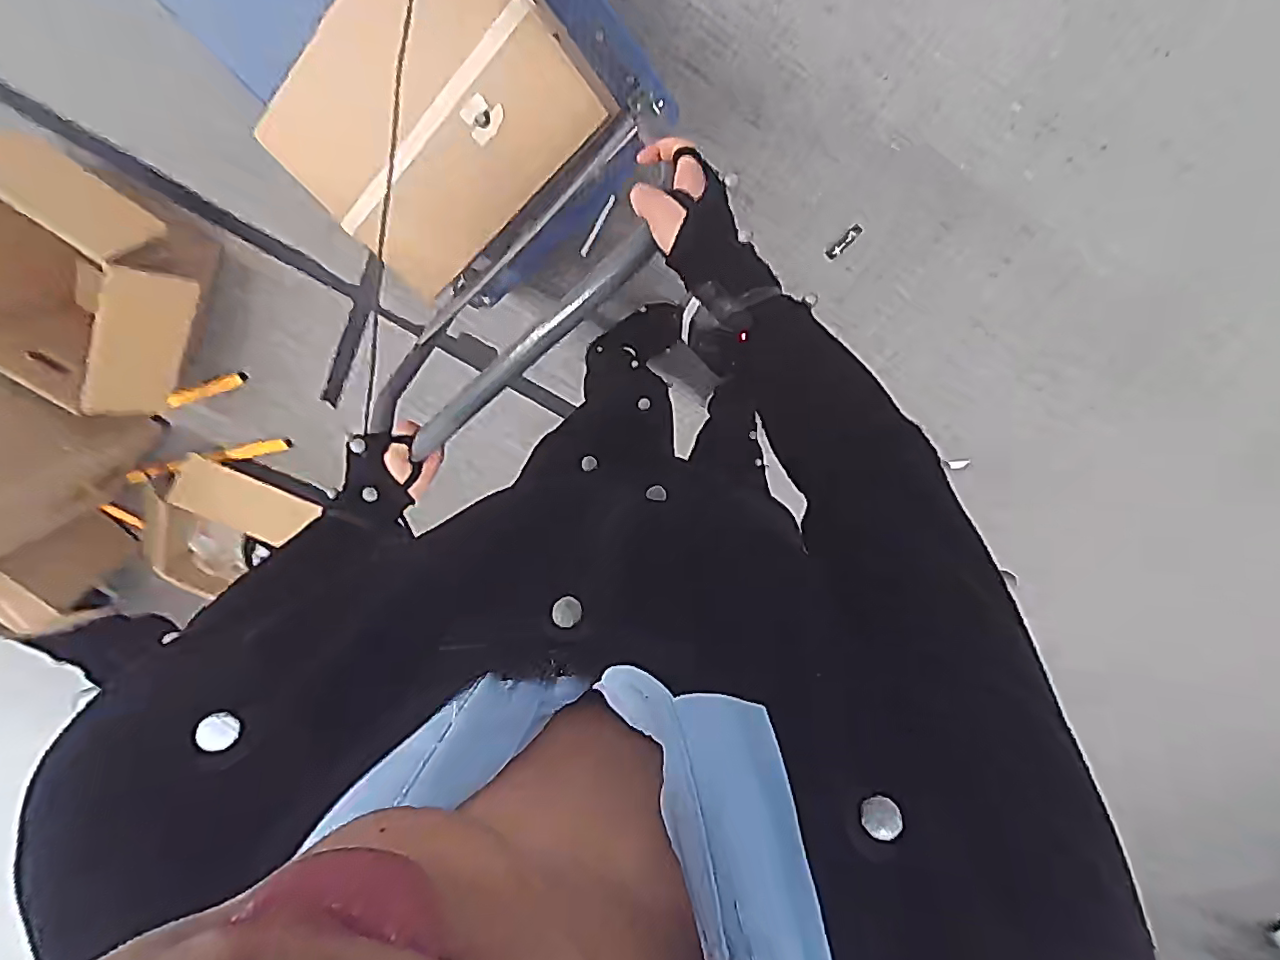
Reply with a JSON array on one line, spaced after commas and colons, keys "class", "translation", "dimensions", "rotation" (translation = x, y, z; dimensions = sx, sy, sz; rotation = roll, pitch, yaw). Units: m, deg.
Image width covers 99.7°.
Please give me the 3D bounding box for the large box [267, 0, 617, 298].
[{"class": "large box", "translation": [-0.287, -0.582, 0.880], "dimensions": [0.408, 0.320, 0.320], "rotation": [-35, 118, 22]}]
